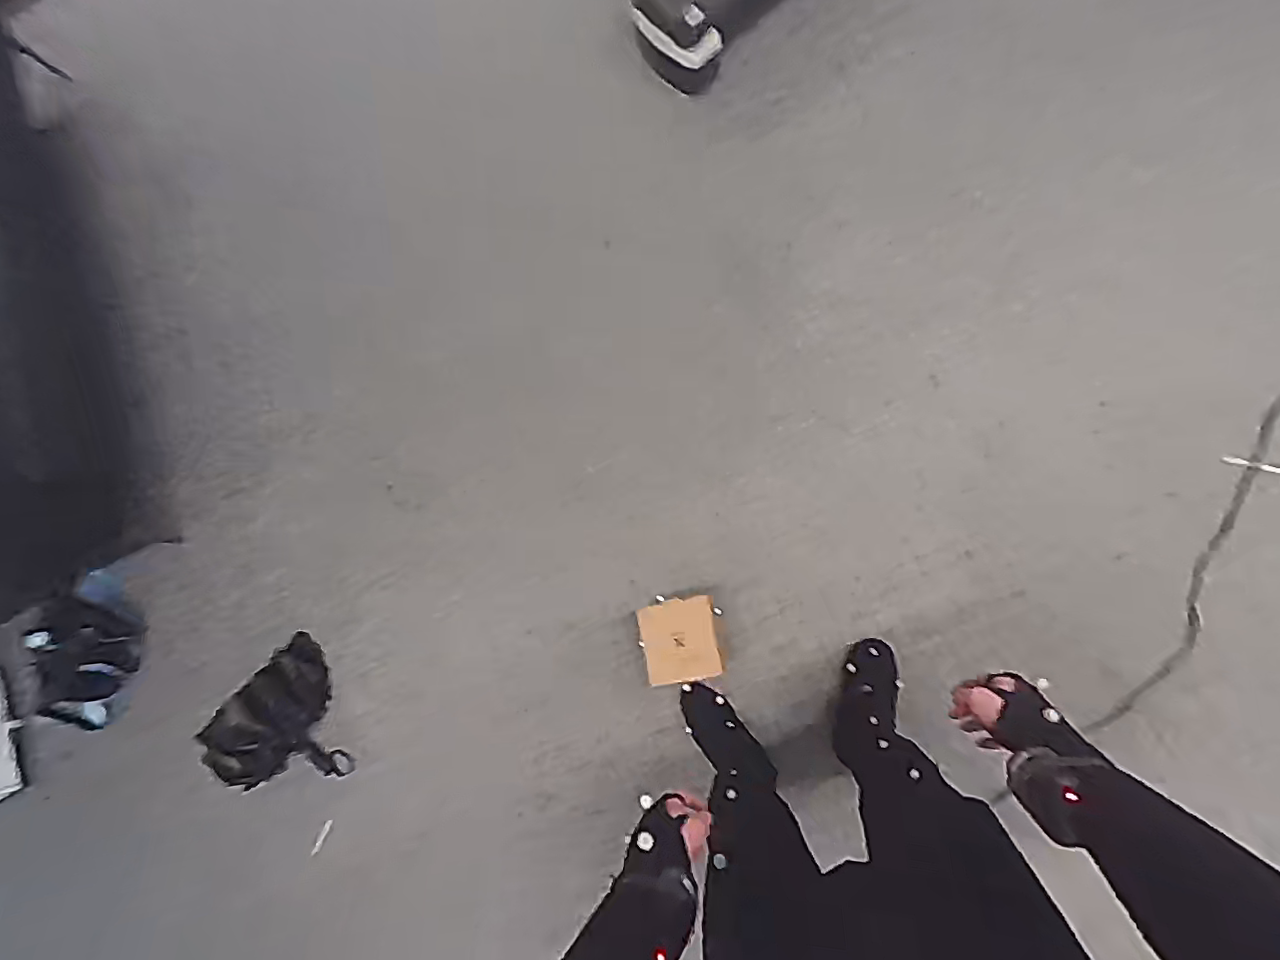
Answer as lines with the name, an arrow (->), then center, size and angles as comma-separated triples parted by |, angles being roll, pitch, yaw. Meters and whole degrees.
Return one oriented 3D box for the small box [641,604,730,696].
small box -> 0.111, 0.393, 1.261 | 0.168, 0.176, 0.179 | -13, 73, 10
